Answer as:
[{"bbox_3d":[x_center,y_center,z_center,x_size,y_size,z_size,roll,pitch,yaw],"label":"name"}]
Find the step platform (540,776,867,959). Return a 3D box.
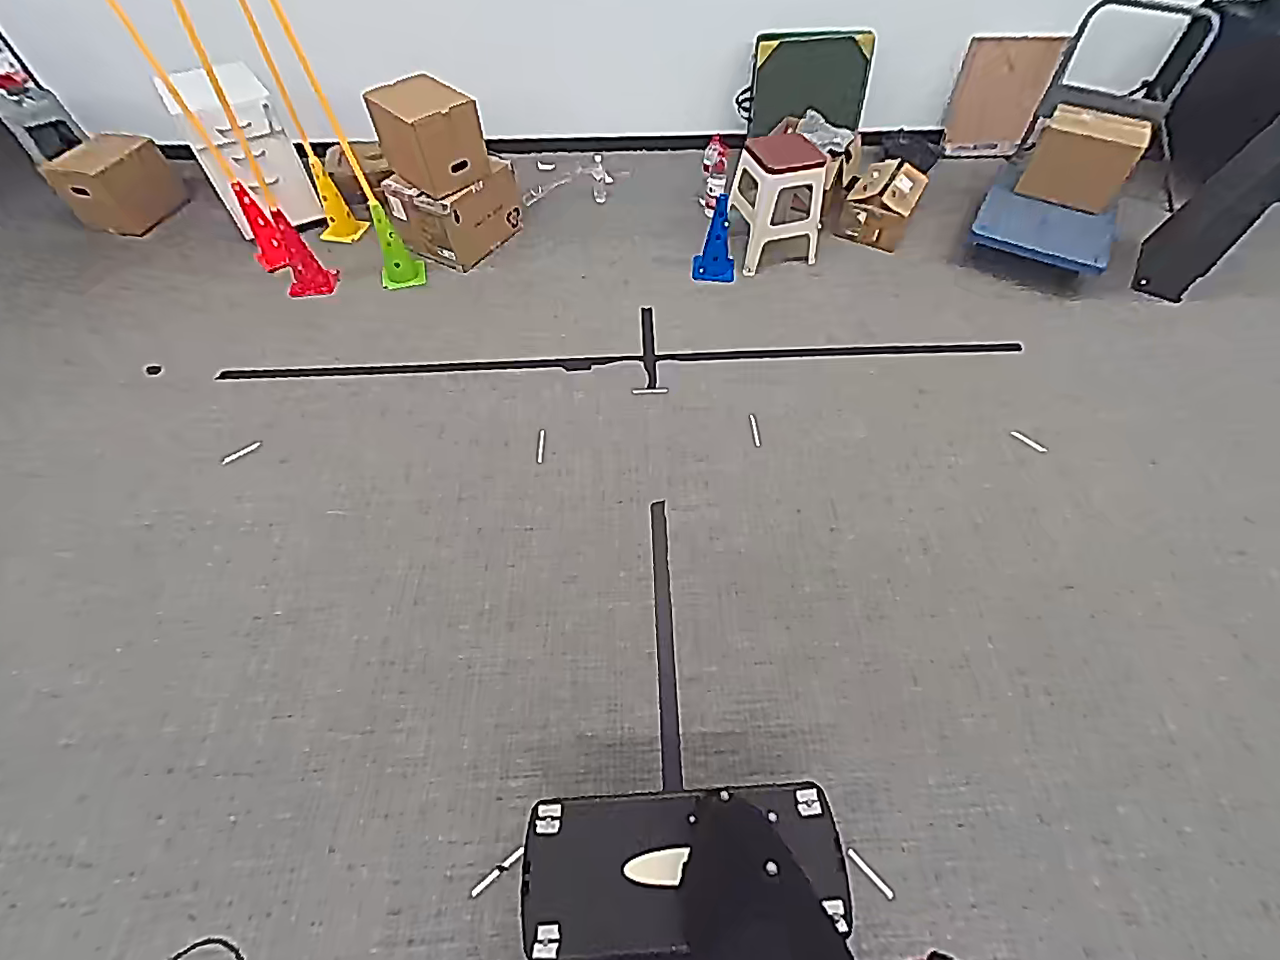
[{"bbox_3d":[0.126,0.837,1.189,0.684,0.204,0.286,-3,54,-3],"label":"step platform"}]
